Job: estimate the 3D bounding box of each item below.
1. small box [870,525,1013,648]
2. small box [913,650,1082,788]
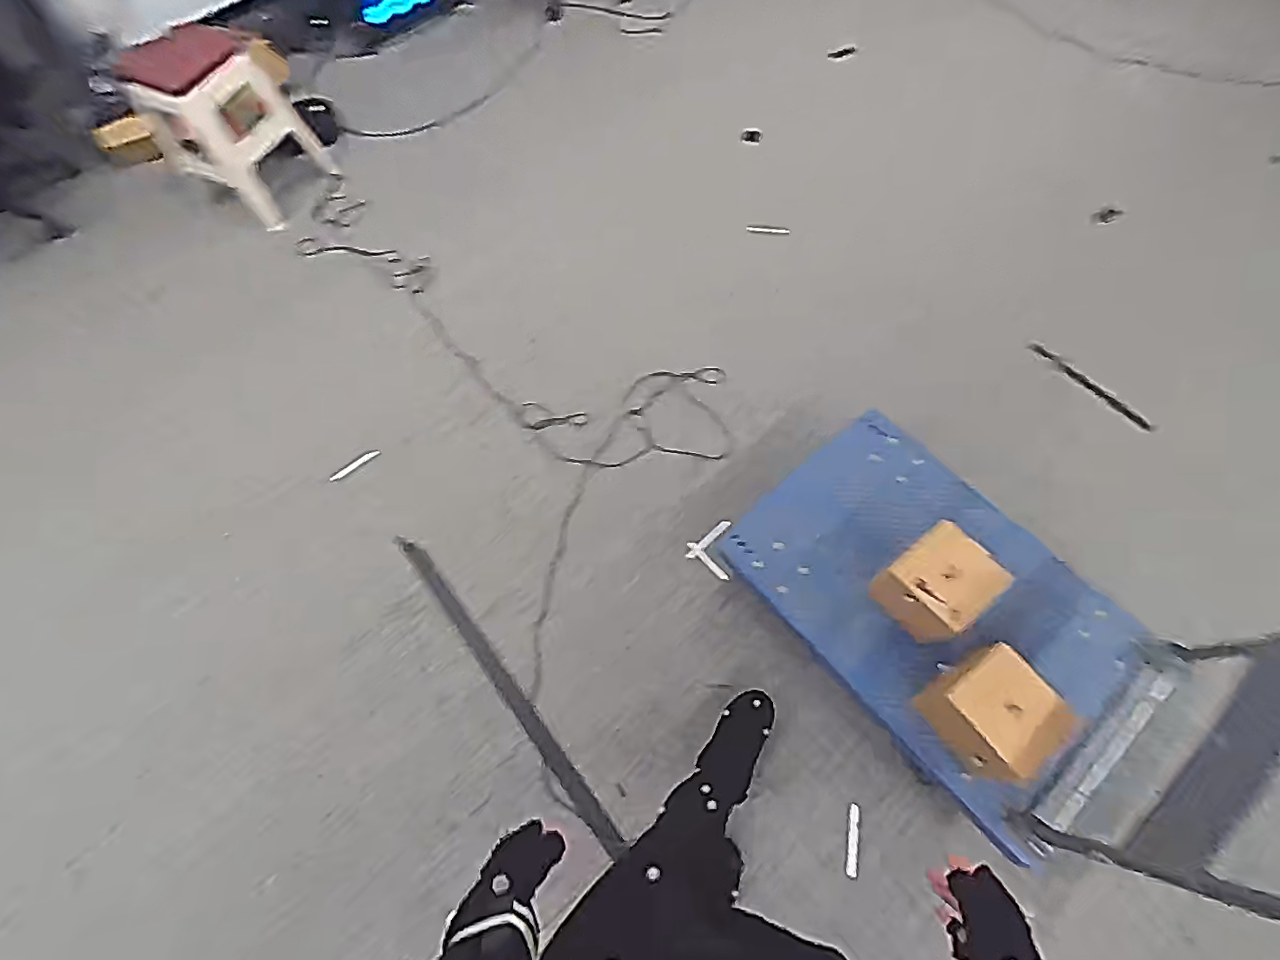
[{"bbox_3d":[0.630,0.232,1.154,0.179,0.176,0.168,-36,68,-14],"label":"small box"},{"bbox_3d":[0.679,0.460,1.049,0.168,0.176,0.179,-33,67,-14],"label":"small box"}]
